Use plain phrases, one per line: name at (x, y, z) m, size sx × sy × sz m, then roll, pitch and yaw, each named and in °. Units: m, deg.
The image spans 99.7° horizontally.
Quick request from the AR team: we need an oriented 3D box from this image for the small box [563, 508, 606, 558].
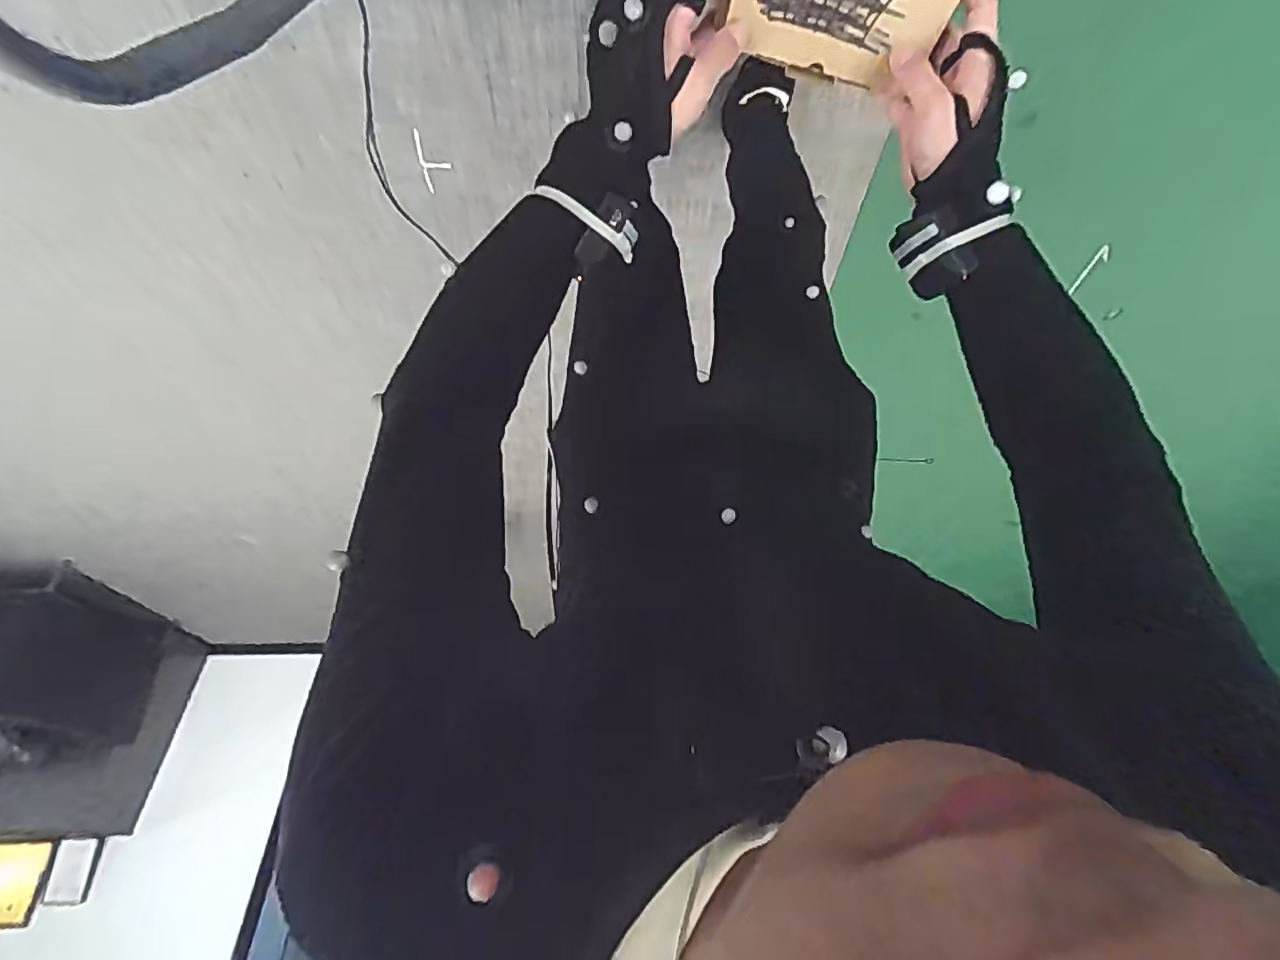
small box at (-0.242, 0.236, 2.357) m, size 0.179 × 0.176 × 0.168 m, roll 4°, pitch 144°, yaw -7°
